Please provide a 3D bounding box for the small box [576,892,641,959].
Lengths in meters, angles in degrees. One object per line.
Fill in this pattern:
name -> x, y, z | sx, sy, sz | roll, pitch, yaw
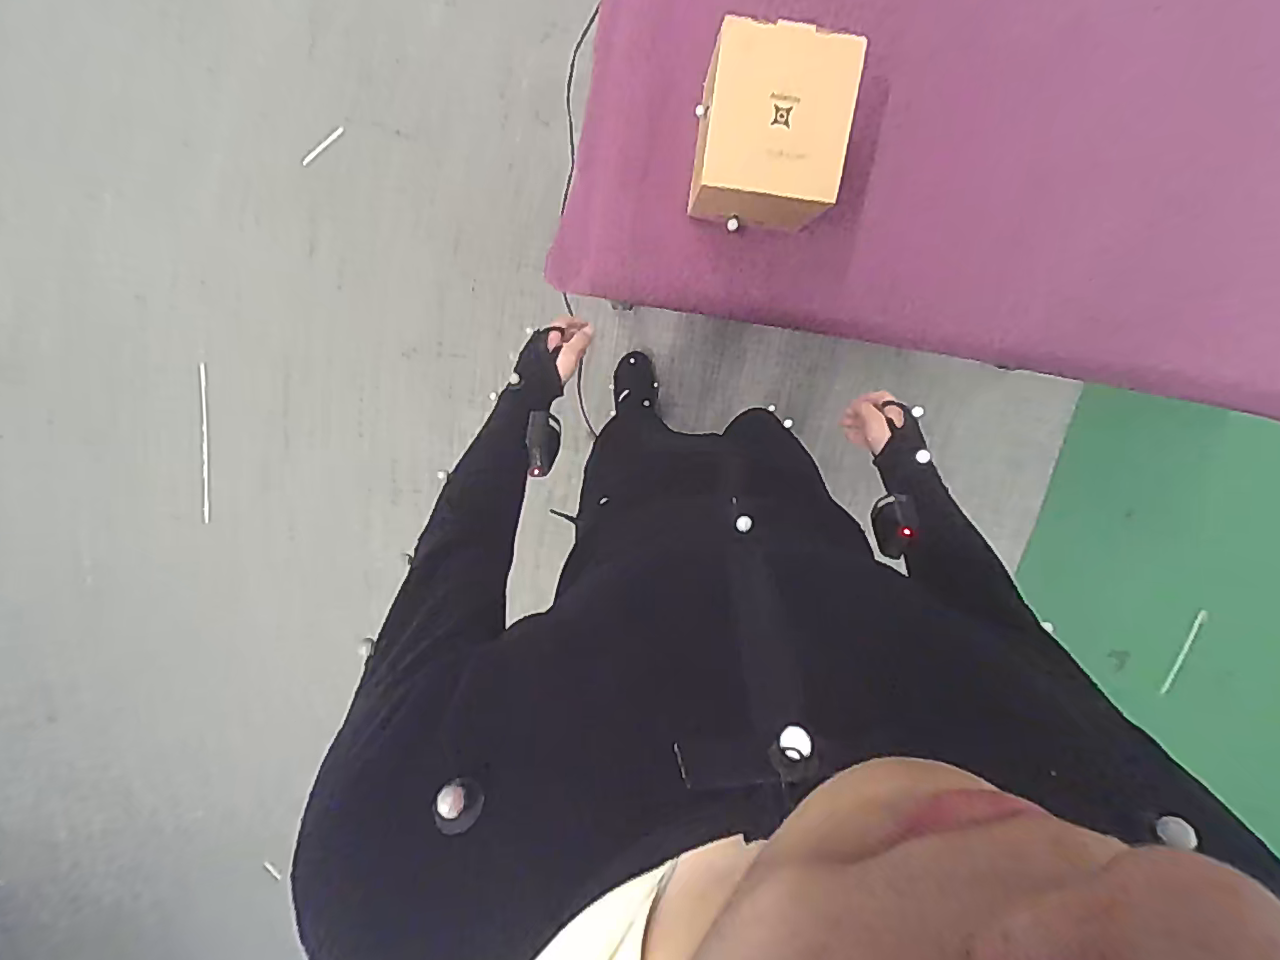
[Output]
small box -> -0.095, 1.410, 1.642 | 0.168, 0.176, 0.179 | 16, 103, -4

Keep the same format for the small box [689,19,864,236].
small box -> 0.160, -0.435, 0.698 | 0.168, 0.176, 0.179 | 7, 103, -2

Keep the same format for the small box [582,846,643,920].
small box -> -0.088, 1.377, 1.803 | 0.168, 0.176, 0.179 | 14, 102, -4

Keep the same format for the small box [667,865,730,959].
small box -> 0.191, 1.452, 1.821 | 0.168, 0.176, 0.179 | 14, 104, -3
